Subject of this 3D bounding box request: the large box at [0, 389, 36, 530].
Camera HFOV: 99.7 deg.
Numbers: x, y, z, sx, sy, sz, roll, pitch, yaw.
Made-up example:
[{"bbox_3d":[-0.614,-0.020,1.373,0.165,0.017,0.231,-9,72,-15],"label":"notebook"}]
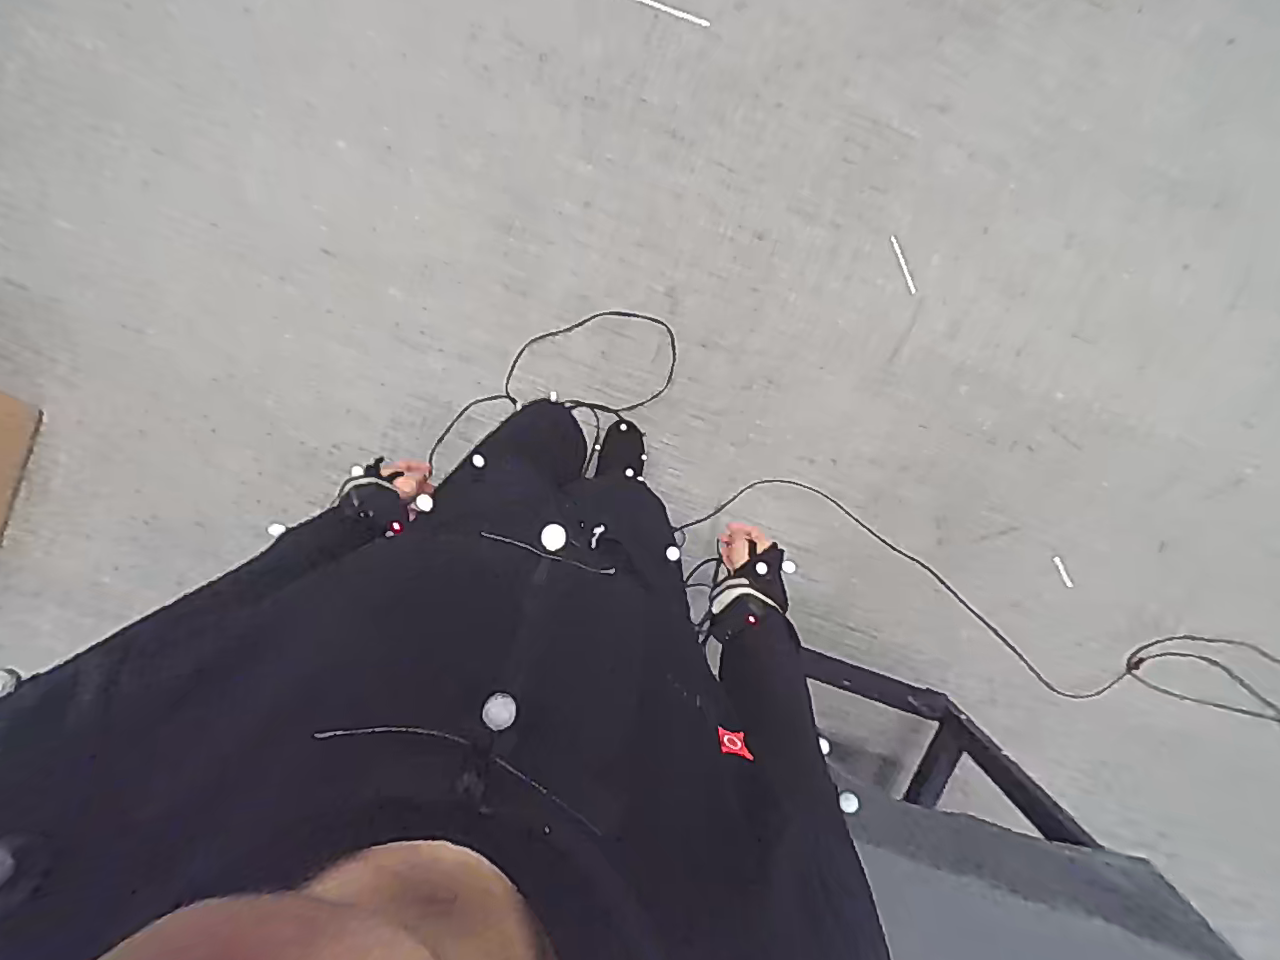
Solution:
[{"bbox_3d":[-1.696,-0.046,1.198,0.320,0.320,0.408,25,97,-5],"label":"large box"}]
